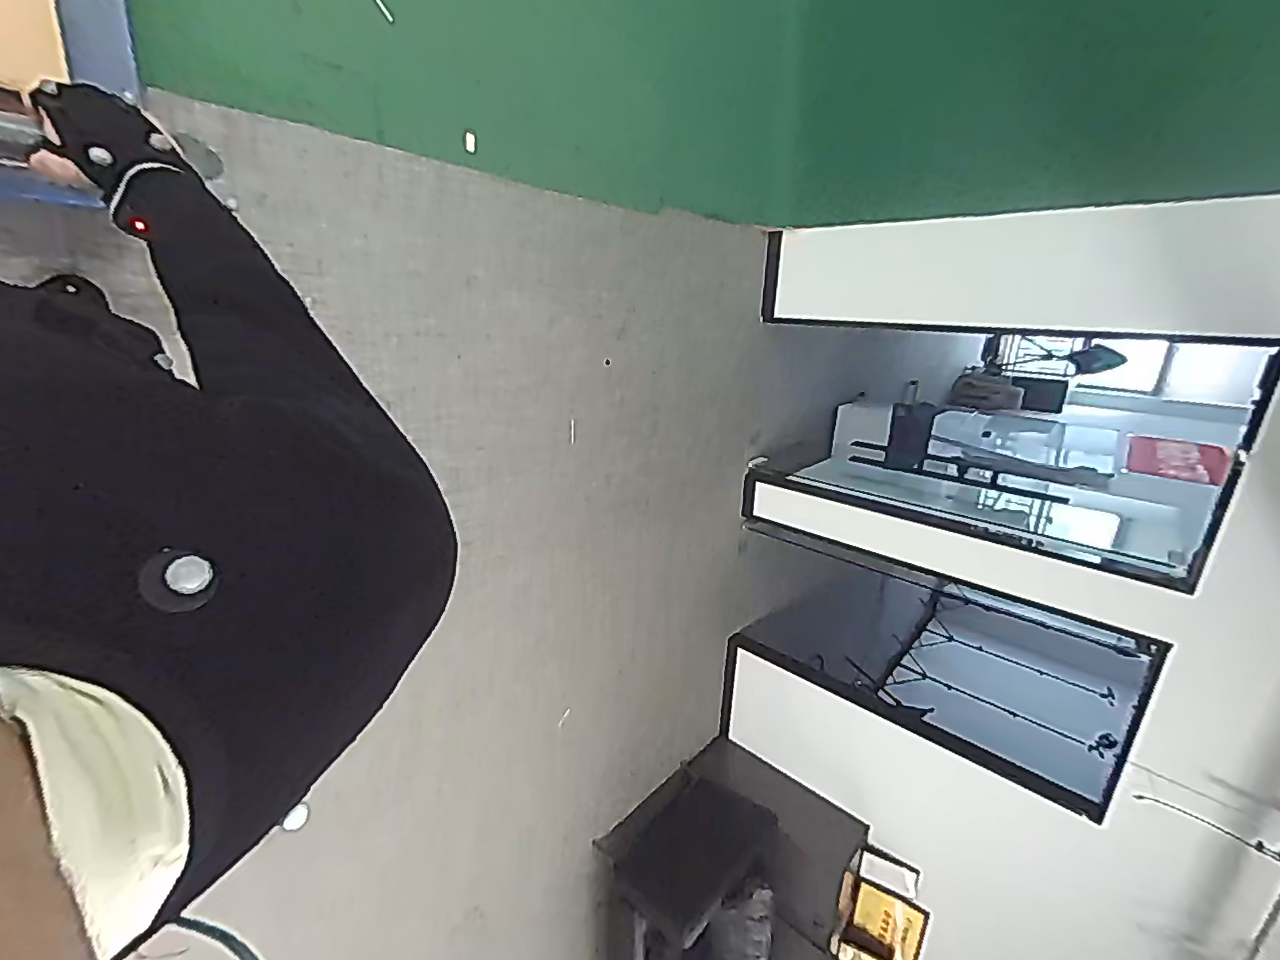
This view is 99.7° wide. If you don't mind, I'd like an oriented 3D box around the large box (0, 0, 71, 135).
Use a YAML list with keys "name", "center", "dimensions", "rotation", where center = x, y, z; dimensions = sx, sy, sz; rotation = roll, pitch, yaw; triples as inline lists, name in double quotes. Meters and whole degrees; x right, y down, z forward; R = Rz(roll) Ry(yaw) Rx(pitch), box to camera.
- name: "large box"
  center: [-0.997, -0.728, 0.688]
  dimensions: [0.320, 0.320, 0.408]
  rotation: [-14, 113, -47]
